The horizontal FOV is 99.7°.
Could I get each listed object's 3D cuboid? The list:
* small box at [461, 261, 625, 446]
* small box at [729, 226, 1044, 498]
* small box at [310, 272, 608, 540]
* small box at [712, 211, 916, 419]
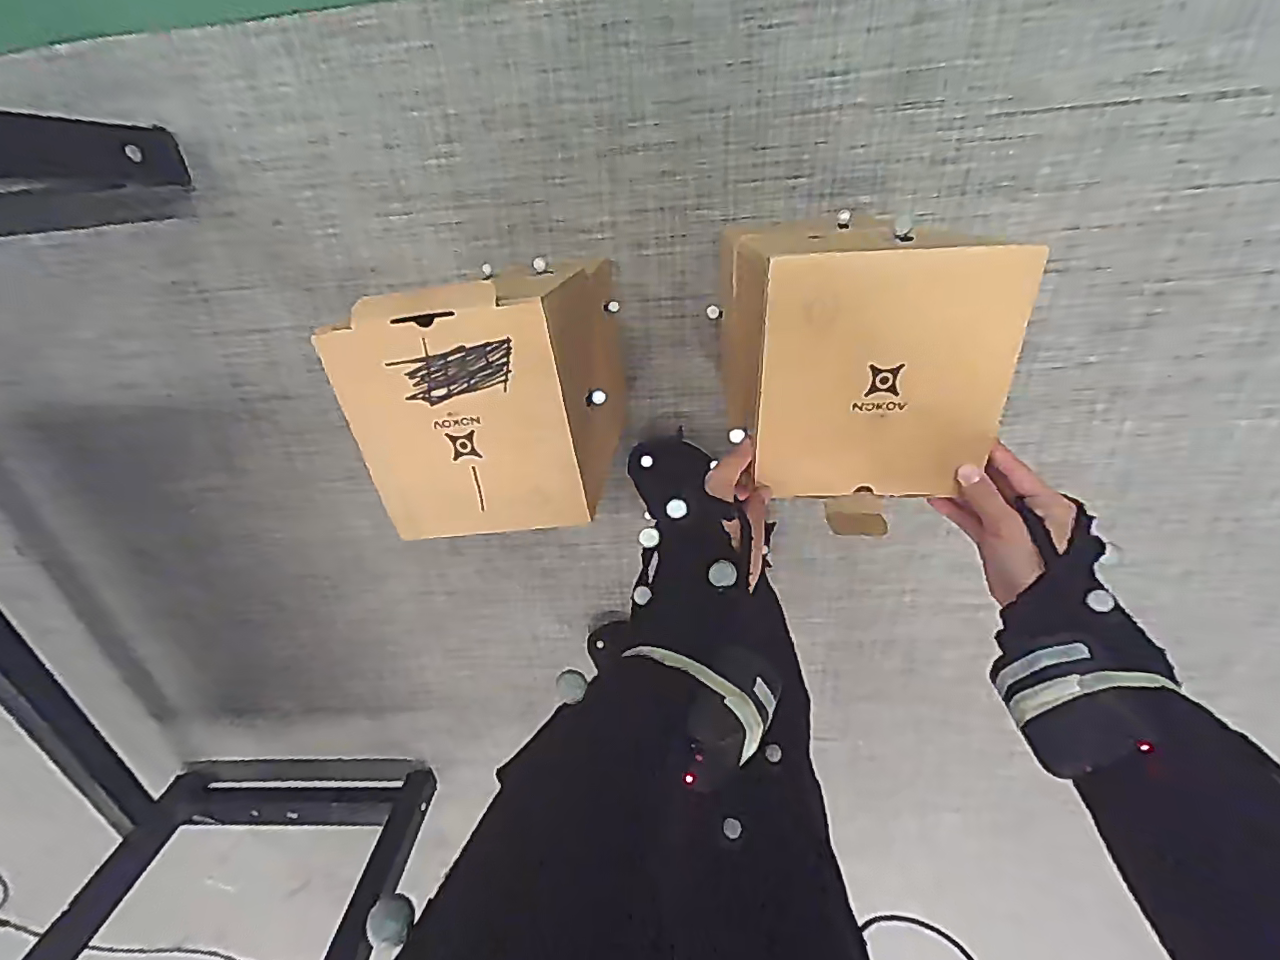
[{"bbox_3d":[-0.114,-0.143,0.609,0.168,0.176,0.179,-5,118,7],"label":"small box"},{"bbox_3d":[0.162,-0.102,0.429,0.168,0.176,0.179,-1,118,3],"label":"small box"},{"bbox_3d":[-0.127,-0.072,0.462,0.168,0.176,0.179,-5,118,7],"label":"small box"},{"bbox_3d":[0.167,-0.179,0.573,0.168,0.176,0.179,-2,119,3],"label":"small box"}]
